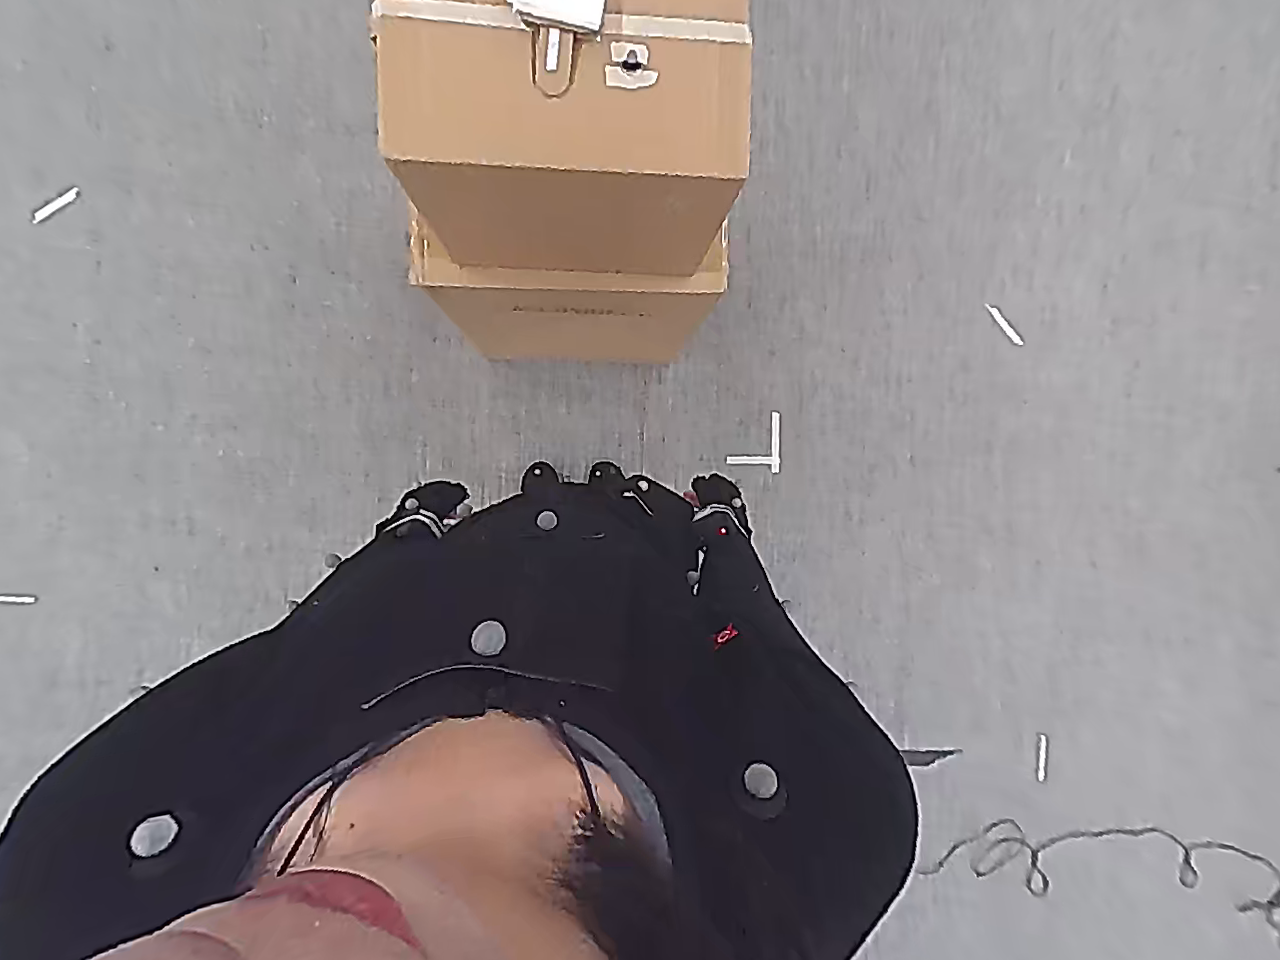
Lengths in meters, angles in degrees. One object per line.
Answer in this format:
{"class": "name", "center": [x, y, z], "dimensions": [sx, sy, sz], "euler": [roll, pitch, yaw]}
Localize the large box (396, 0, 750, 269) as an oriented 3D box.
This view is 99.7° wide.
{"class": "large box", "center": [-0.088, -0.507, 0.758], "dimensions": [0.408, 0.320, 0.320], "euler": [0, 91, -6]}
